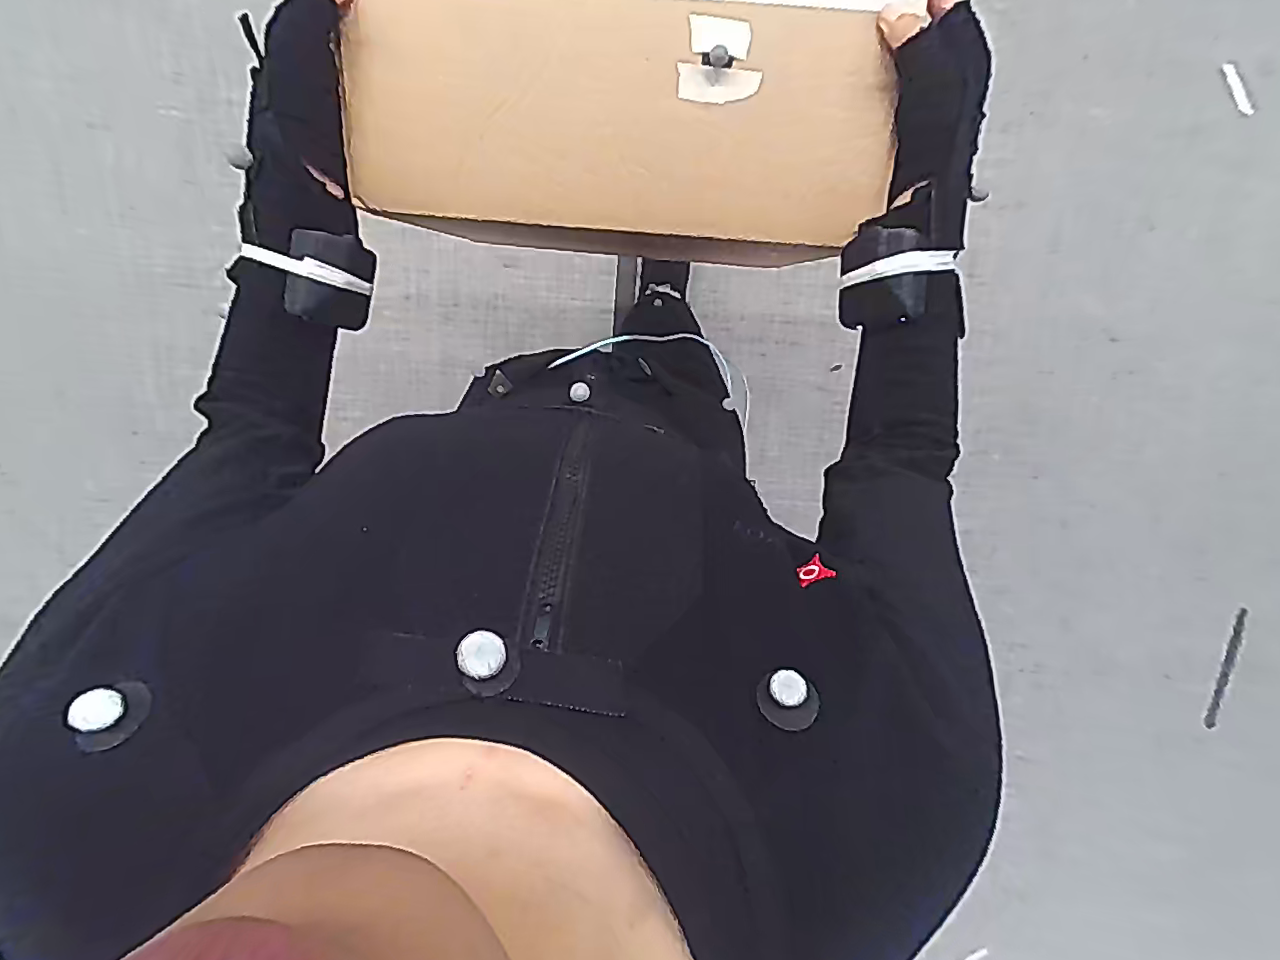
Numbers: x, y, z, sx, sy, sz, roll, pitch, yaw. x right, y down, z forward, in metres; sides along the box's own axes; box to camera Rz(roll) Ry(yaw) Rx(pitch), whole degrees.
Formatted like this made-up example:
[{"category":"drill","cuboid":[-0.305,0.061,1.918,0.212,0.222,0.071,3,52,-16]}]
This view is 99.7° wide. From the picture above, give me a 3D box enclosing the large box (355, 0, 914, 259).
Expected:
[{"category":"large box","cuboid":[-0.004,-0.398,0.520,0.408,0.320,0.320,4,110,-1]}]
